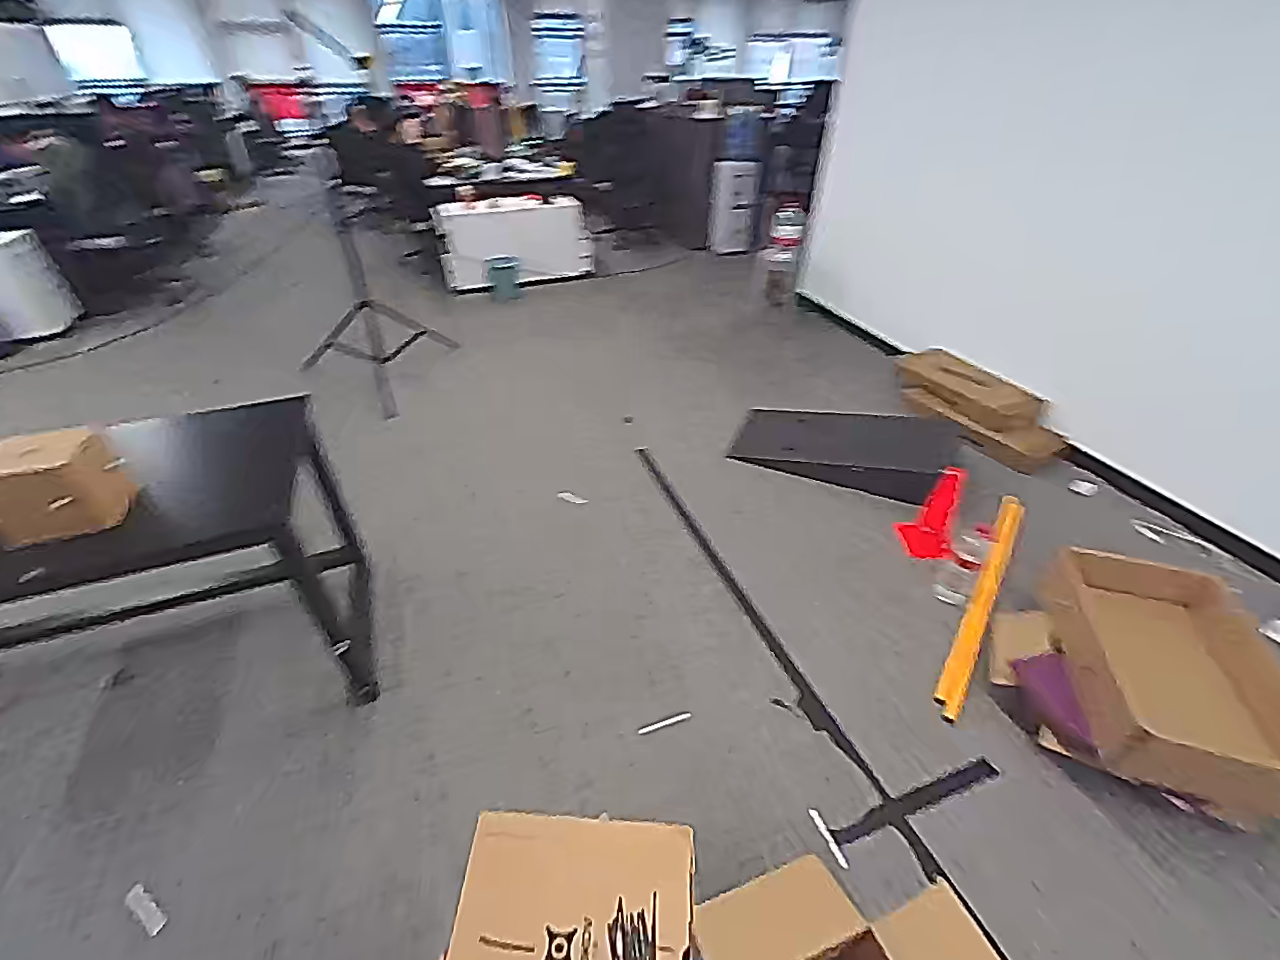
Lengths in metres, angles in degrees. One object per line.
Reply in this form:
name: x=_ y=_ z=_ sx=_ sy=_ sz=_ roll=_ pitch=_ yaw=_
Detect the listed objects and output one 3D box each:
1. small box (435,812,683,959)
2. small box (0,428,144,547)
small box: x=-0.059 y=0.388 z=0.441 sx=0.179 sy=0.176 sz=0.168 roll=2 pitch=46 yaw=1
small box: x=-1.215 y=0.015 z=1.145 sx=0.179 sy=0.176 sz=0.168 roll=-14 pitch=38 yaw=-16
